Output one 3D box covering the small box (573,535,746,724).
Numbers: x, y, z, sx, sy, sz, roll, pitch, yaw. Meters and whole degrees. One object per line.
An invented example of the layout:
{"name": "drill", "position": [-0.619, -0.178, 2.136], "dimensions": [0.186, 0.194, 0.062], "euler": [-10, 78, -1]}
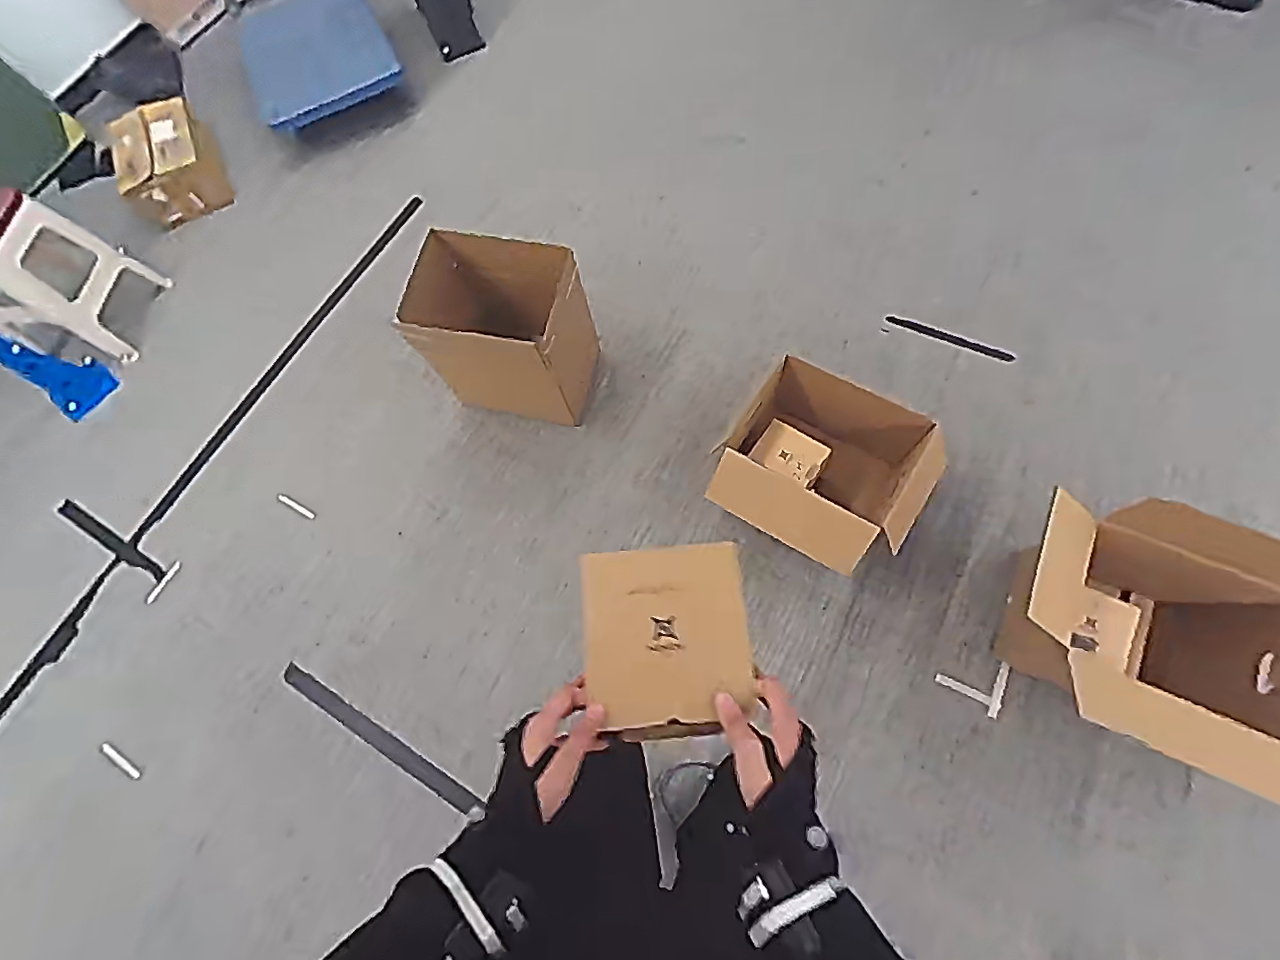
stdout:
{"name": "small box", "position": [0.020, 0.168, 0.626], "dimensions": [0.168, 0.176, 0.179], "euler": [-6, 75, 0]}
